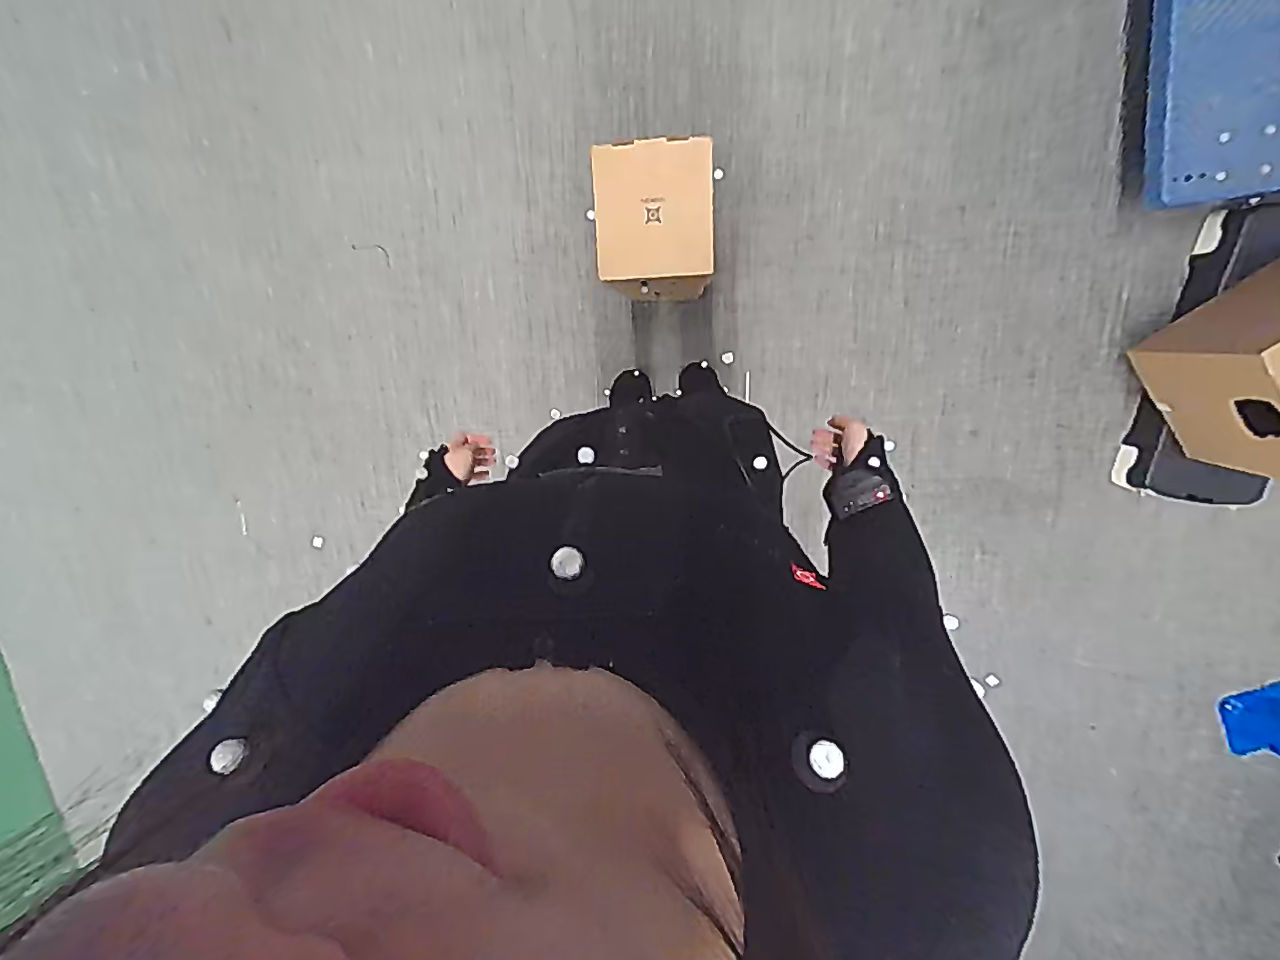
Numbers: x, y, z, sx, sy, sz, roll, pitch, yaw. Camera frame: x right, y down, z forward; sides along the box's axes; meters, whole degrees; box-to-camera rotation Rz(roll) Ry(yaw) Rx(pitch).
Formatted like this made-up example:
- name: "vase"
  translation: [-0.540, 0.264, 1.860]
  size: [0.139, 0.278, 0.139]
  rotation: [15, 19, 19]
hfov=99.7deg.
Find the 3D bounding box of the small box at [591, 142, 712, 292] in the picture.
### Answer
- name: "small box"
  translation: [0.024, -0.383, 0.819]
  size: [0.168, 0.176, 0.179]
  rotation: [-1, 104, 5]
